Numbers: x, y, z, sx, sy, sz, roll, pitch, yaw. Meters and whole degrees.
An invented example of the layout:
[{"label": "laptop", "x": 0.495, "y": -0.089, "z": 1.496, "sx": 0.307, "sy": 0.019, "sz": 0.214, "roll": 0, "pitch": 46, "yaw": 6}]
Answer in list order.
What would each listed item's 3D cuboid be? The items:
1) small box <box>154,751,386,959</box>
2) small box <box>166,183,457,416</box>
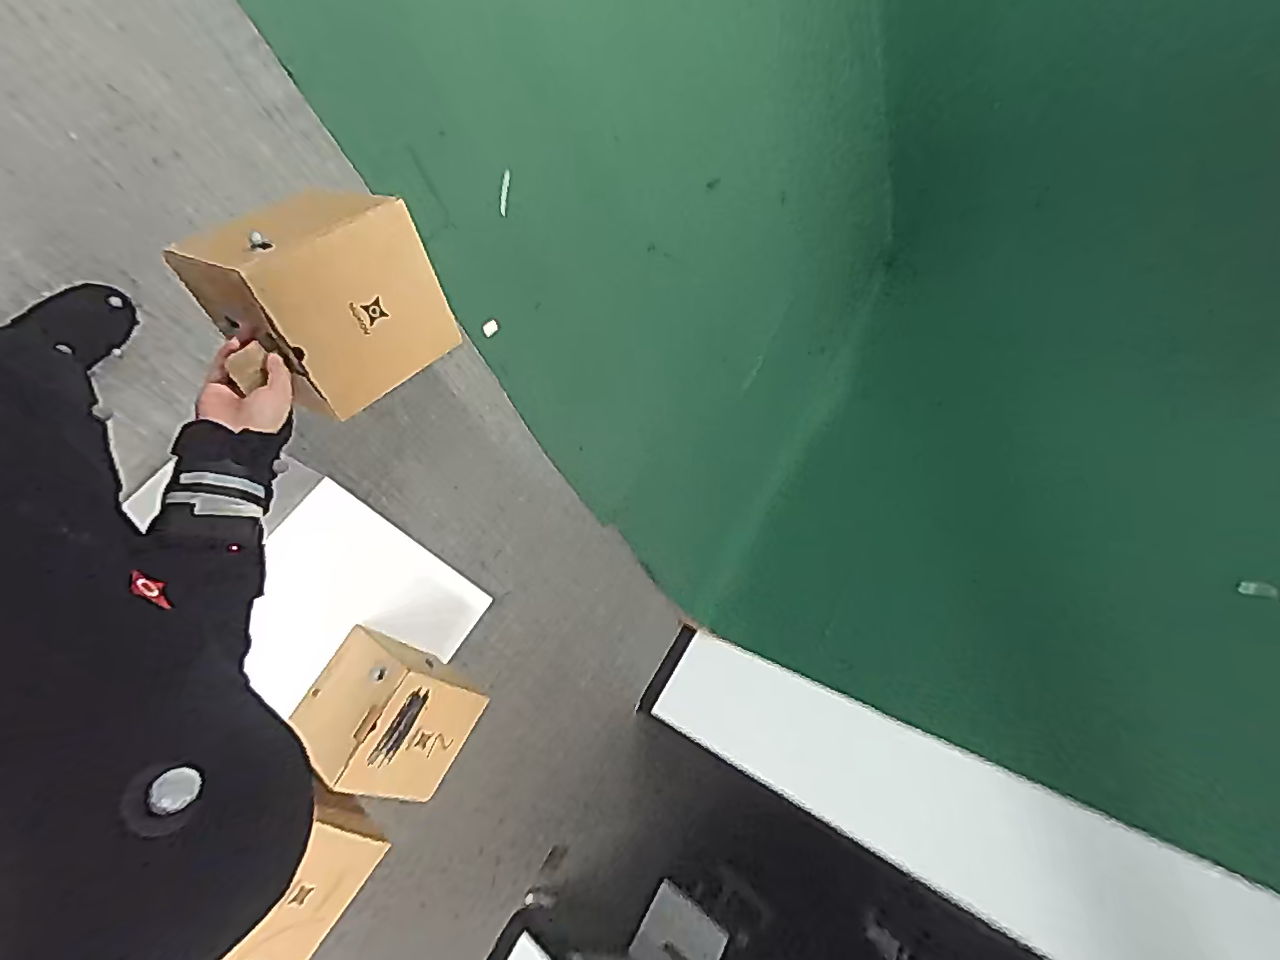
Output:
[{"label": "small box", "x": -0.497, "y": 0.501, "z": 0.731, "sx": 0.168, "sy": 0.176, "sz": 0.179, "roll": -53, "pitch": 138, "yaw": -24}, {"label": "small box", "x": -0.342, "y": -0.202, "z": 0.582, "sx": 0.179, "sy": 0.176, "sz": 0.168, "roll": -49, "pitch": 146, "yaw": -31}]
